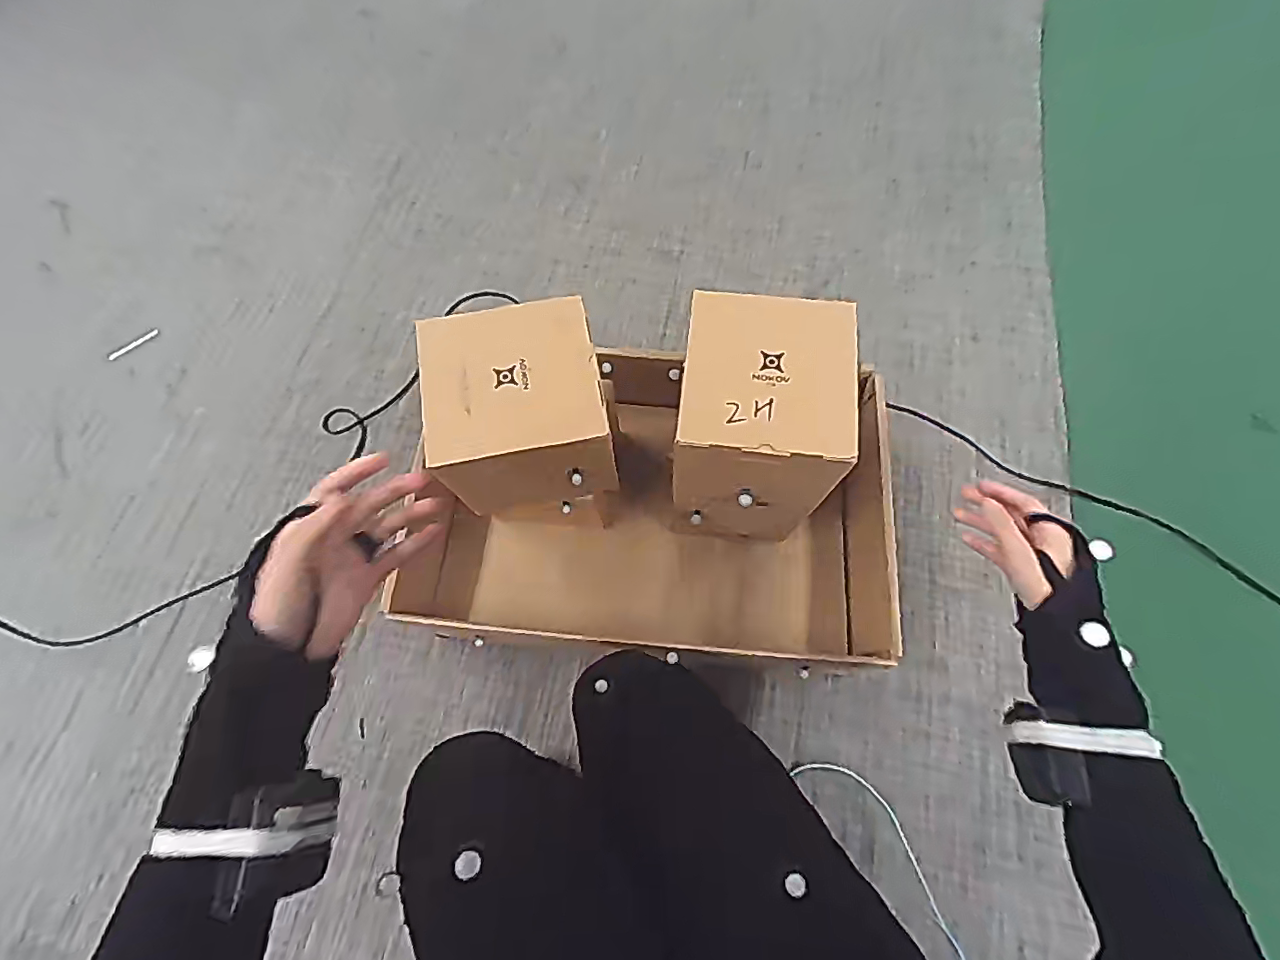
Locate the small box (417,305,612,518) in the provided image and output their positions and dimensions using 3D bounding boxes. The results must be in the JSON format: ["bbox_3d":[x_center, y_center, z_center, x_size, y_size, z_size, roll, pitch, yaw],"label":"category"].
[{"bbox_3d":[-0.129,-0.066,0.607,0.179,0.176,0.168,-11,71,-2],"label":"small box"}]

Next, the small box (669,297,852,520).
[{"bbox_3d":[0.123,-0.070,0.594,0.168,0.176,0.179,6,70,5],"label":"small box"}]
